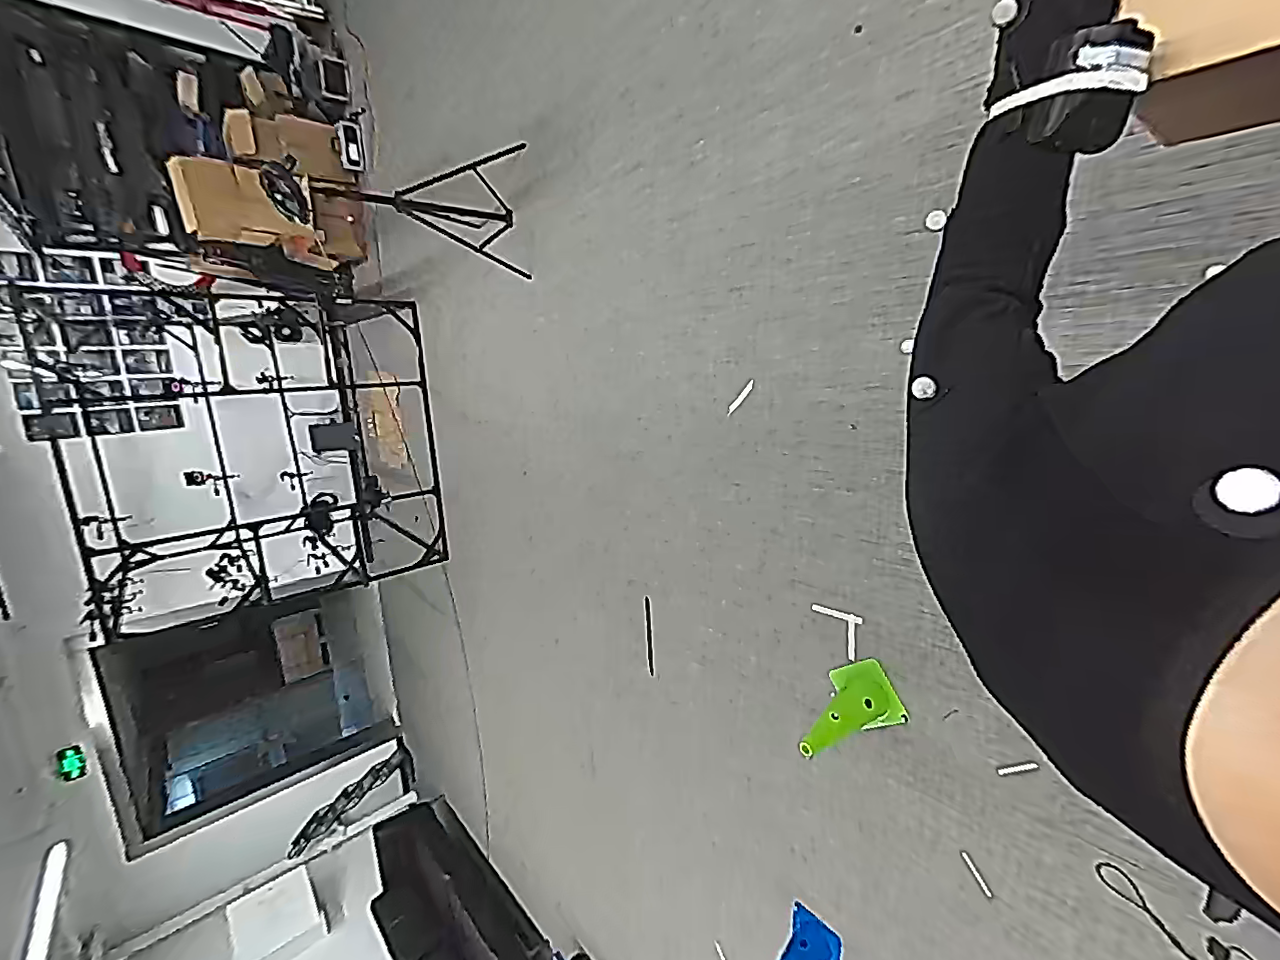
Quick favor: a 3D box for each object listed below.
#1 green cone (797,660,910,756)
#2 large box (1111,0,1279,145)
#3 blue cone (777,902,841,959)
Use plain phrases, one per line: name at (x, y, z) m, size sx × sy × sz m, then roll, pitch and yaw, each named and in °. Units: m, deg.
green cone at (0.590, 0.705, 1.597) m, size 0.202 × 0.368 × 0.200 m, roll -46°, pitch 64°, yaw 47°
large box at (0.548, -0.429, 0.286) m, size 0.408 × 0.320 × 0.320 m, roll 11°, pitch 114°, yaw 47°
blue cone at (0.552, 1.776, 1.962) m, size 0.192 × 0.380 × 0.193 m, roll 17°, pitch 112°, yaw 48°
